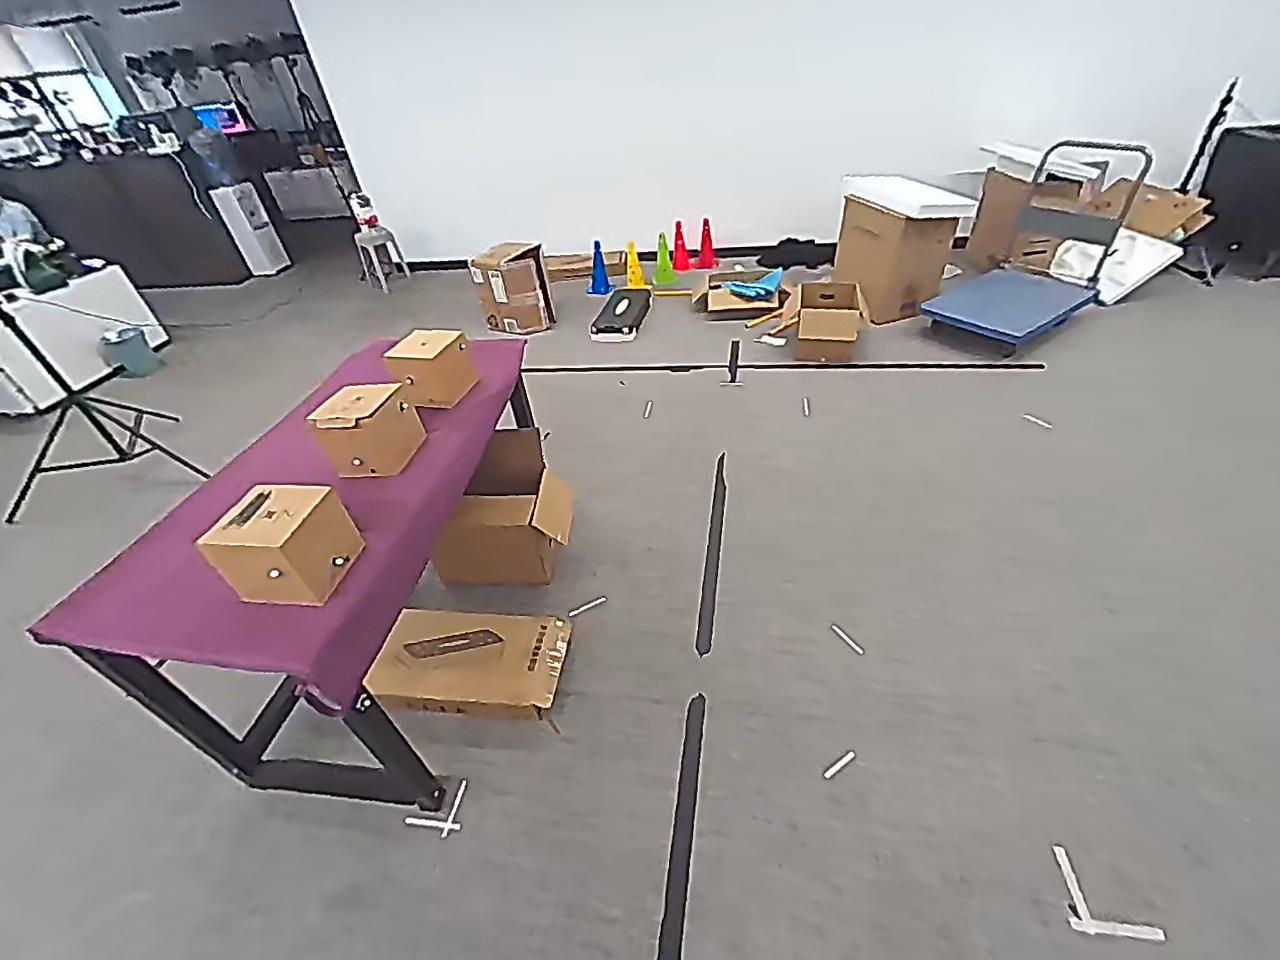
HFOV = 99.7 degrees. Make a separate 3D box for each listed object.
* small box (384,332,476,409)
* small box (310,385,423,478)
[{"bbox_3d":[-0.610,-0.324,1.602,0.168,0.176,0.179,5,40,14],"label":"small box"},{"bbox_3d":[-0.674,-0.122,1.363,0.168,0.176,0.179,-2,39,10],"label":"small box"}]
